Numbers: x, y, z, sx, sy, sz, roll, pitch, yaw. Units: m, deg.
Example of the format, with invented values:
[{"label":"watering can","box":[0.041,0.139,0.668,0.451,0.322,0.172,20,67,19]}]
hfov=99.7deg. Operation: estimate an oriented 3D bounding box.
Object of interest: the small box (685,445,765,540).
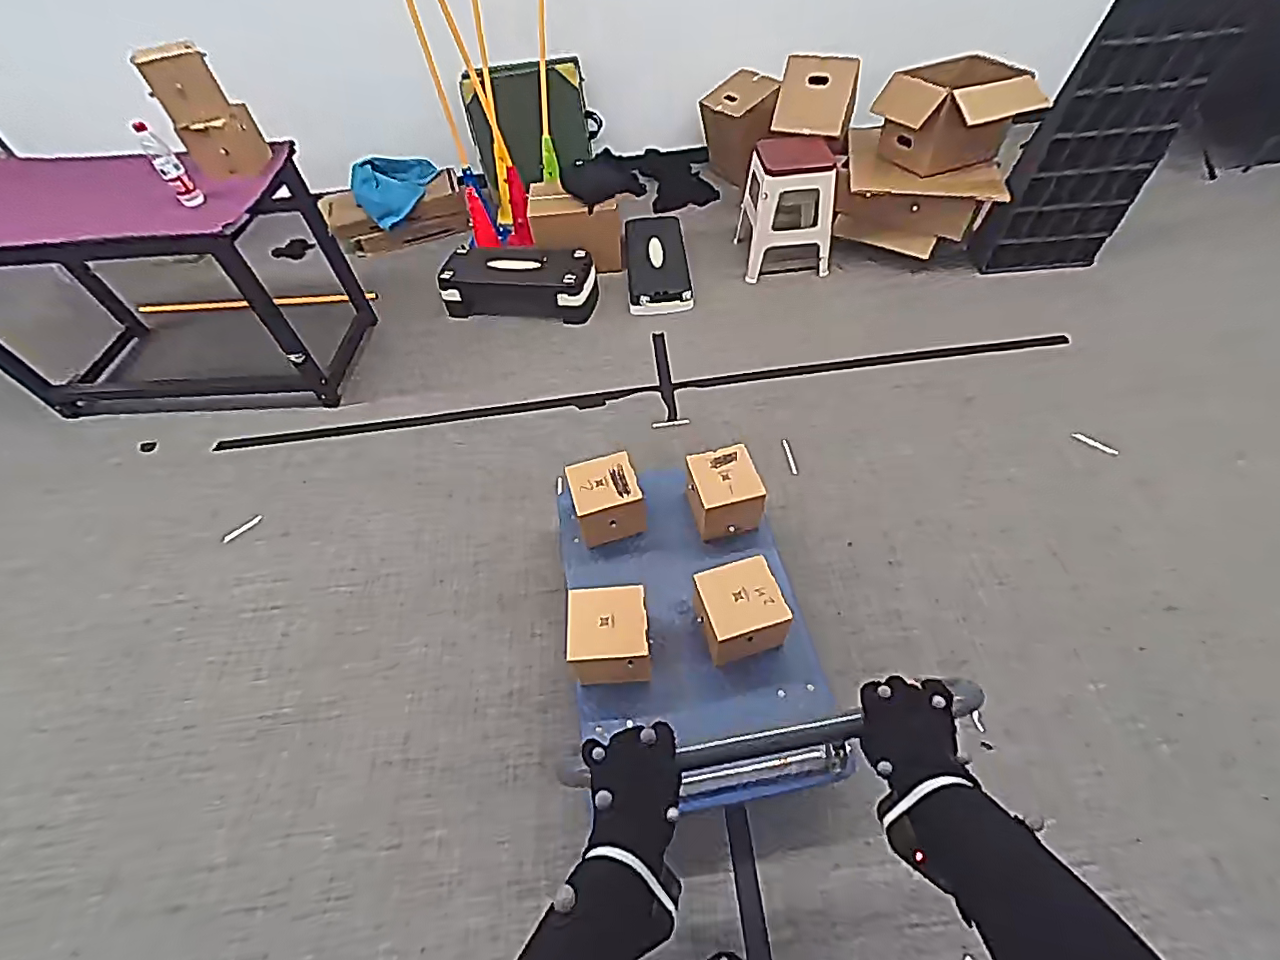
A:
[{"label":"small box","box":[0.220,0.035,1.460,0.168,0.176,0.179,-14,55,-5]}]

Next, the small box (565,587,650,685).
[{"label":"small box","box":[-0.072,0.362,1.244,0.179,0.176,0.168,-4,53,0]}]

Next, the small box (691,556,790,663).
[{"label":"small box","box":[0.228,0.307,1.260,0.179,0.176,0.168,-15,54,-6]}]
